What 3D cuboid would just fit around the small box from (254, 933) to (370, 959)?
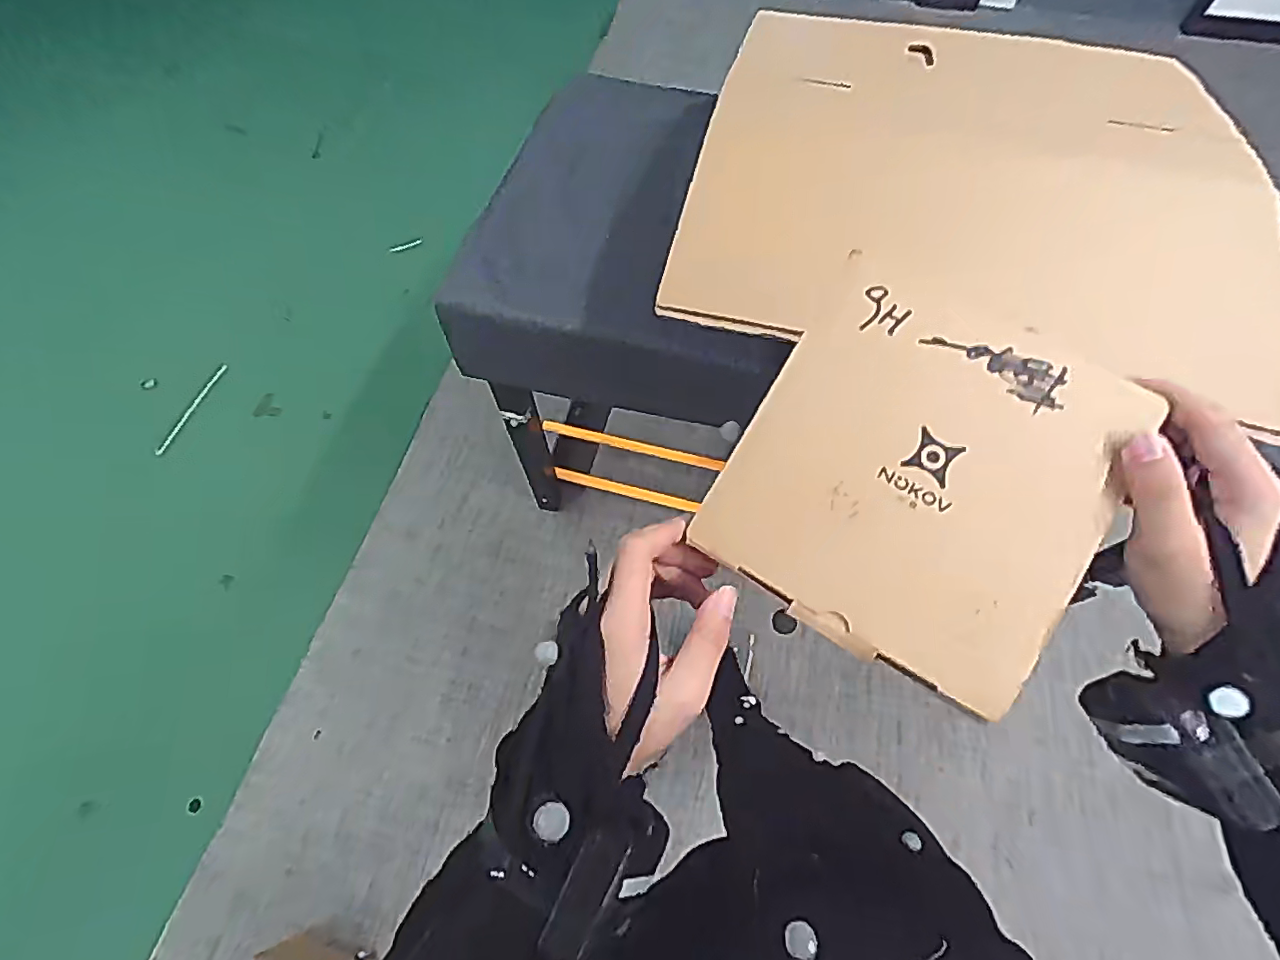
[{"bbox_3d":[-0.572,0.900,0.898,0.168,0.176,0.179,14,65,8],"label":"small box"}]
